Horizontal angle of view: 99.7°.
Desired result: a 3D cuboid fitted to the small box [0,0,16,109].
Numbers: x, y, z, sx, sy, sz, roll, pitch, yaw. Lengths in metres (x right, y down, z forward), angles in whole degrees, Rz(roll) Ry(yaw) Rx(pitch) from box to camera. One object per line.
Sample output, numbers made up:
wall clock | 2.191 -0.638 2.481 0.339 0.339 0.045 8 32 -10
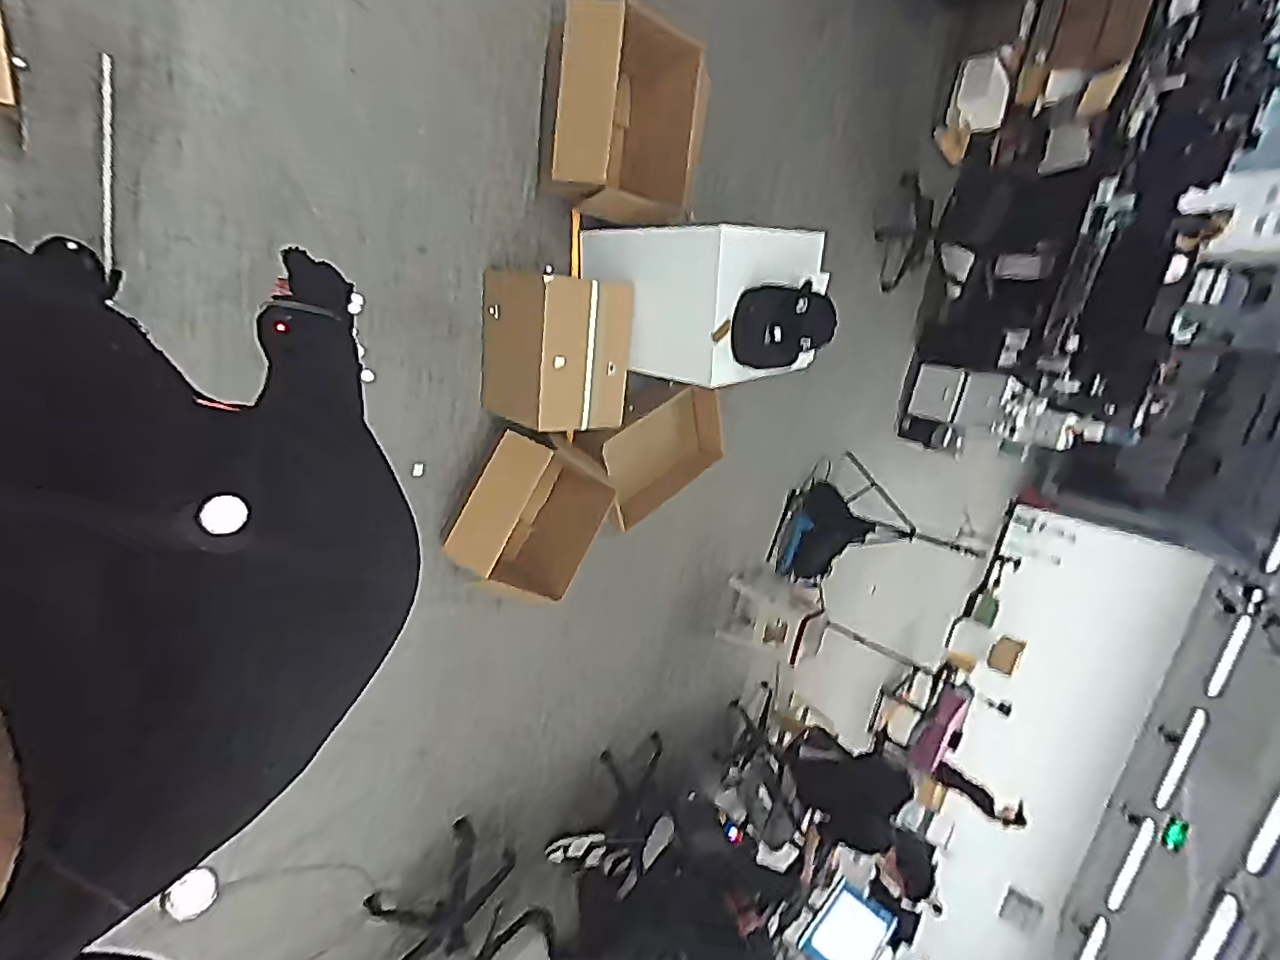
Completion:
small box | -1.028 -0.654 0.767 0.179 0.176 0.168 -7 111 -45
